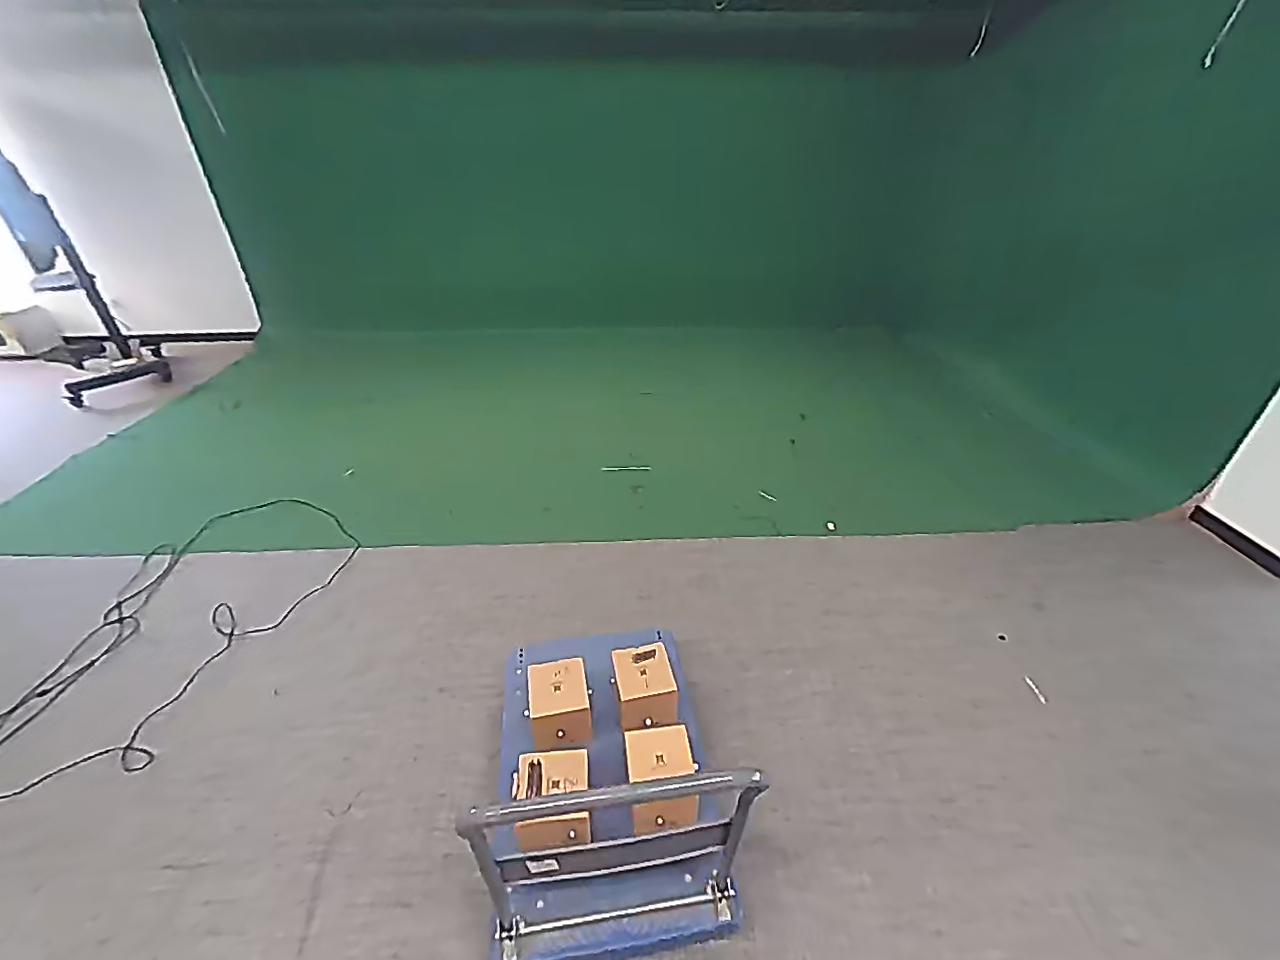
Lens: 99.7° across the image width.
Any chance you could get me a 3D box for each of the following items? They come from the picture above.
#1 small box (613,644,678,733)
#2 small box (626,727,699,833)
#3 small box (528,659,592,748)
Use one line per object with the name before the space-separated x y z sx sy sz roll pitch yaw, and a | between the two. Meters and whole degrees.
small box | 0.012 0.628 1.628 0.168 0.176 0.179 -8 36 -9
small box | 0.052 0.779 1.407 0.168 0.176 0.179 -4 35 -6
small box | -0.235 0.659 1.583 0.168 0.176 0.179 -6 34 -10
